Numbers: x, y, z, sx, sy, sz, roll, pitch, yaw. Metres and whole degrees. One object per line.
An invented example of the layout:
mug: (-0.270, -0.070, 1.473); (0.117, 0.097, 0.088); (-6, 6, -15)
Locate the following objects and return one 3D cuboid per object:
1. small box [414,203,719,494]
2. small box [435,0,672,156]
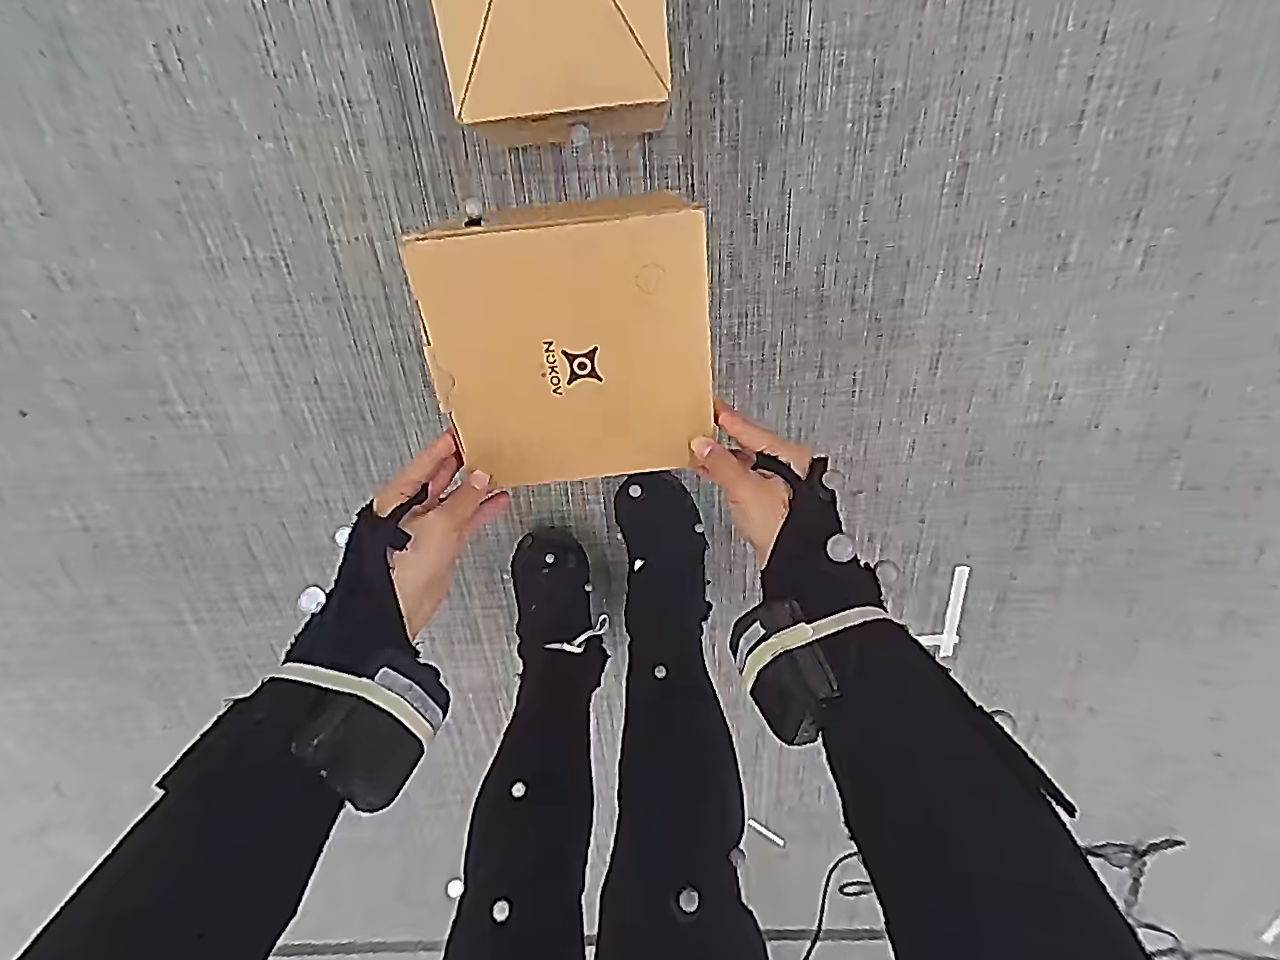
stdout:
small box: (-0.042, -0.109, 0.415); (0.179, 0.176, 0.168); (-6, 121, 0)
small box: (-0.063, -0.382, 0.444); (0.168, 0.176, 0.179); (-5, 116, 2)
